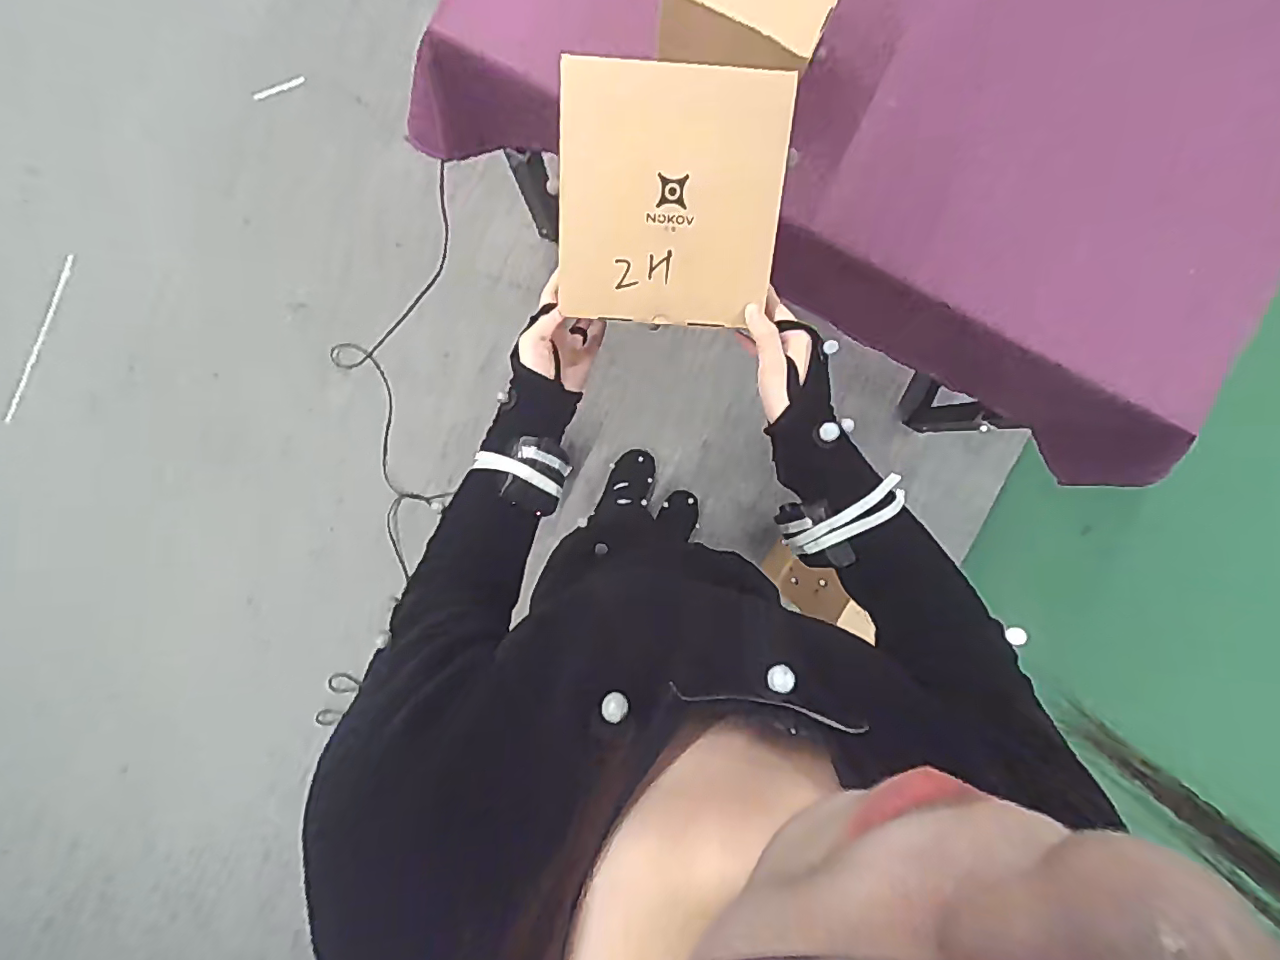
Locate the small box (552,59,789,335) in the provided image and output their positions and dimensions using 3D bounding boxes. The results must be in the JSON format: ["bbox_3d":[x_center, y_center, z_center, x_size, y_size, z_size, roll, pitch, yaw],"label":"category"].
[{"bbox_3d":[0.017,-0.232,0.480,0.168,0.176,0.179,4,111,-2],"label":"small box"}]

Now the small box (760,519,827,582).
[{"bbox_3d":[0.448,0.217,1.445,0.179,0.176,0.168,30,93,-4],"label":"small box"}]

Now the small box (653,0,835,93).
[{"bbox_3d":[0.128,-0.560,0.645,0.179,0.176,0.168,25,93,-4],"label":"small box"}]

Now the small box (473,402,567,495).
[{"bbox_3d":[-0.300,-0.081,1.400,0.168,0.176,0.179,29,92,-4],"label":"small box"}]

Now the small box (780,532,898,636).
[{"bbox_3d":[0.459,0.235,1.283,0.179,0.176,0.168,27,94,-5],"label":"small box"}]
